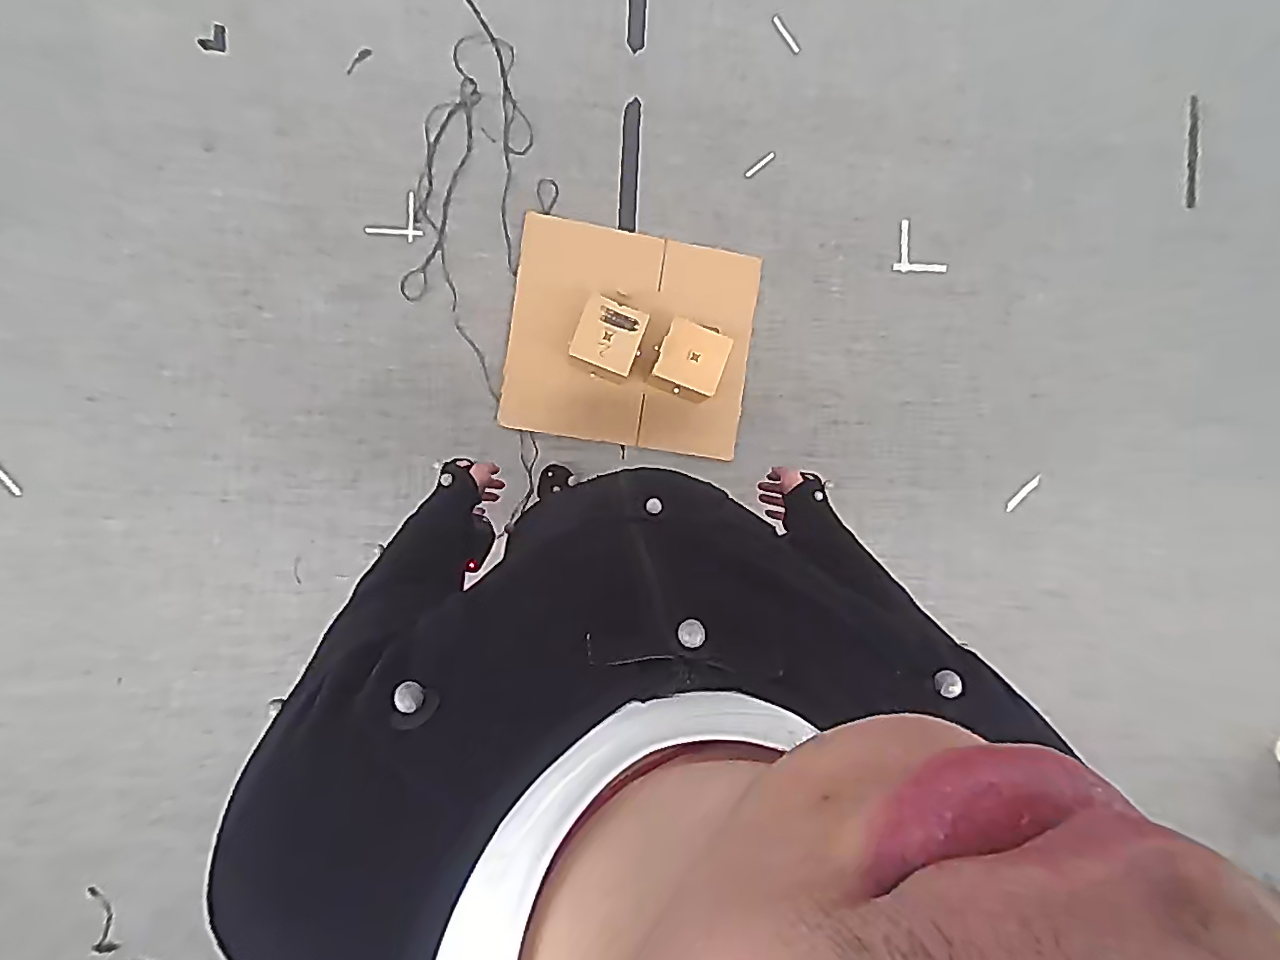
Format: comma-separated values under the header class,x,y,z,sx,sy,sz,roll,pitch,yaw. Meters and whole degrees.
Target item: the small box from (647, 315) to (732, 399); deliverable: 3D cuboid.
class,x,y,z,sx,sy,sz,roll,pitch,yaw
small box,0.132,-0.336,1.518,0.179,0.176,0.168,20,89,-6
